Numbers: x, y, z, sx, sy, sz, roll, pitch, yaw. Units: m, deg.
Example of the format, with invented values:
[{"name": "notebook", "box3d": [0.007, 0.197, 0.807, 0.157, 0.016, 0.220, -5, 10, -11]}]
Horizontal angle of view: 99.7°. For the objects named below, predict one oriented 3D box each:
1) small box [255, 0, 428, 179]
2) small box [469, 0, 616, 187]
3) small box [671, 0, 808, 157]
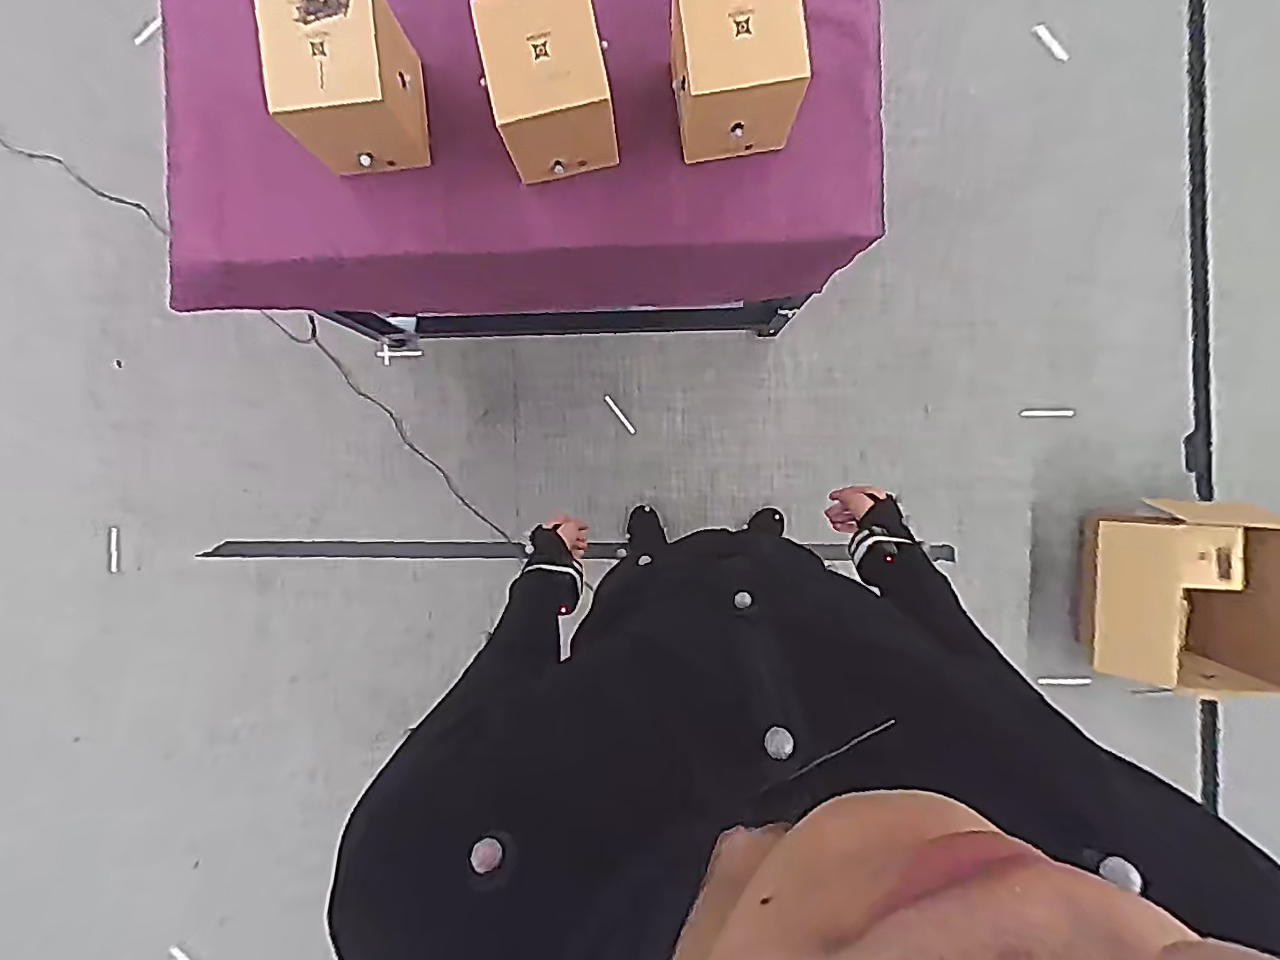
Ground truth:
[{"name": "small box", "box3d": [-0.442, -0.596, 0.825, 0.168, 0.176, 0.179, -5, 92, 2]}, {"name": "small box", "box3d": [-0.137, -0.584, 0.817, 0.168, 0.176, 0.179, -12, 90, 3]}, {"name": "small box", "box3d": [0.138, -0.613, 0.806, 0.168, 0.176, 0.179, -8, 90, 2]}]
